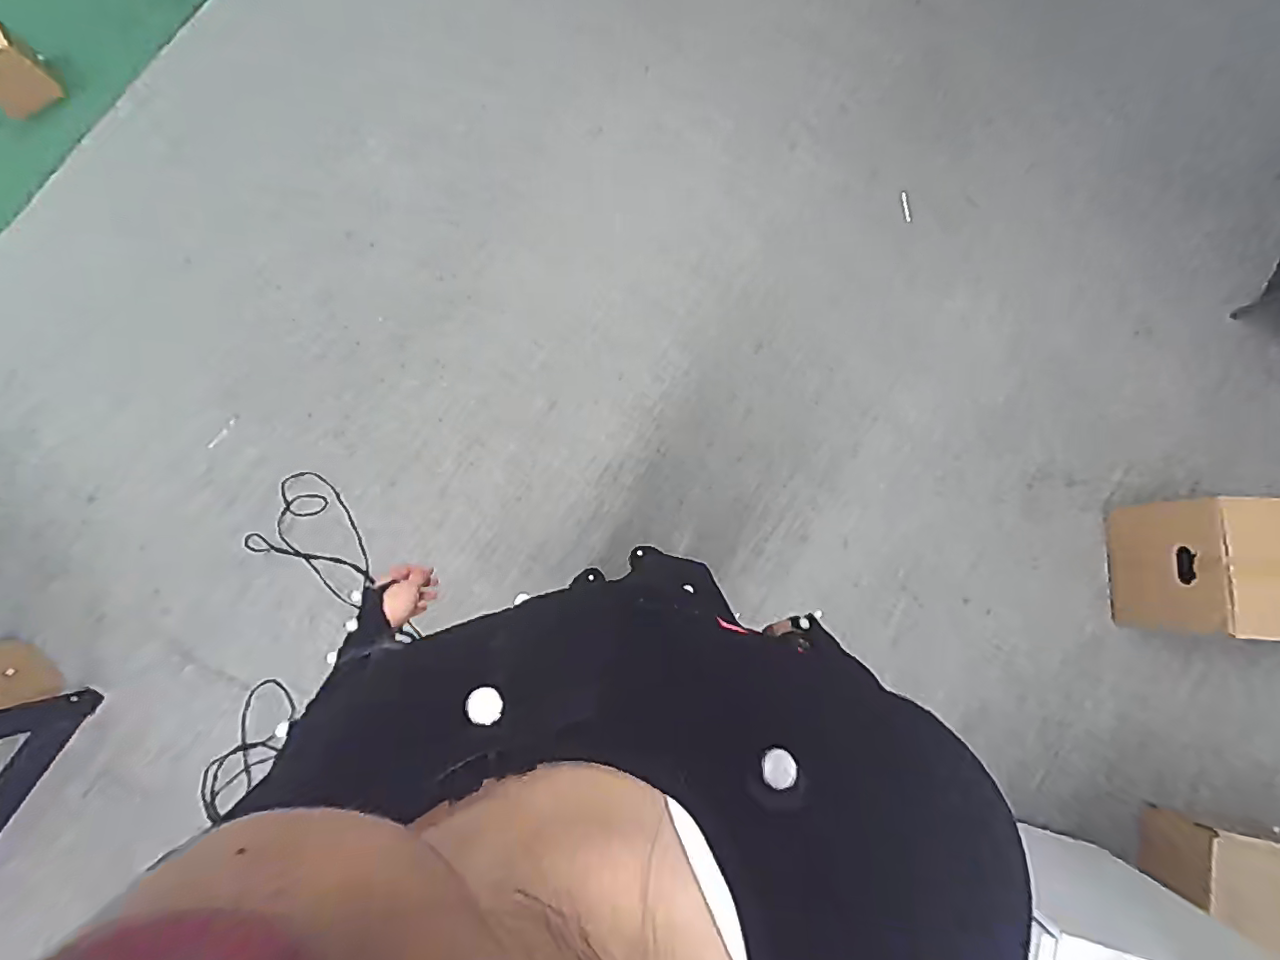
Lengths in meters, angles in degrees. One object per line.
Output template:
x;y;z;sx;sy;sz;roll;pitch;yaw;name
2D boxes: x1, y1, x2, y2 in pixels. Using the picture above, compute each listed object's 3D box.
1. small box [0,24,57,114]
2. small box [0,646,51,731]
-1.965;-1.269;1.643;0.179;0.176;0.168;-37;83;-6;small box
-1.680;0.545;1.366;0.168;0.176;0.179;-44;85;-6;small box
